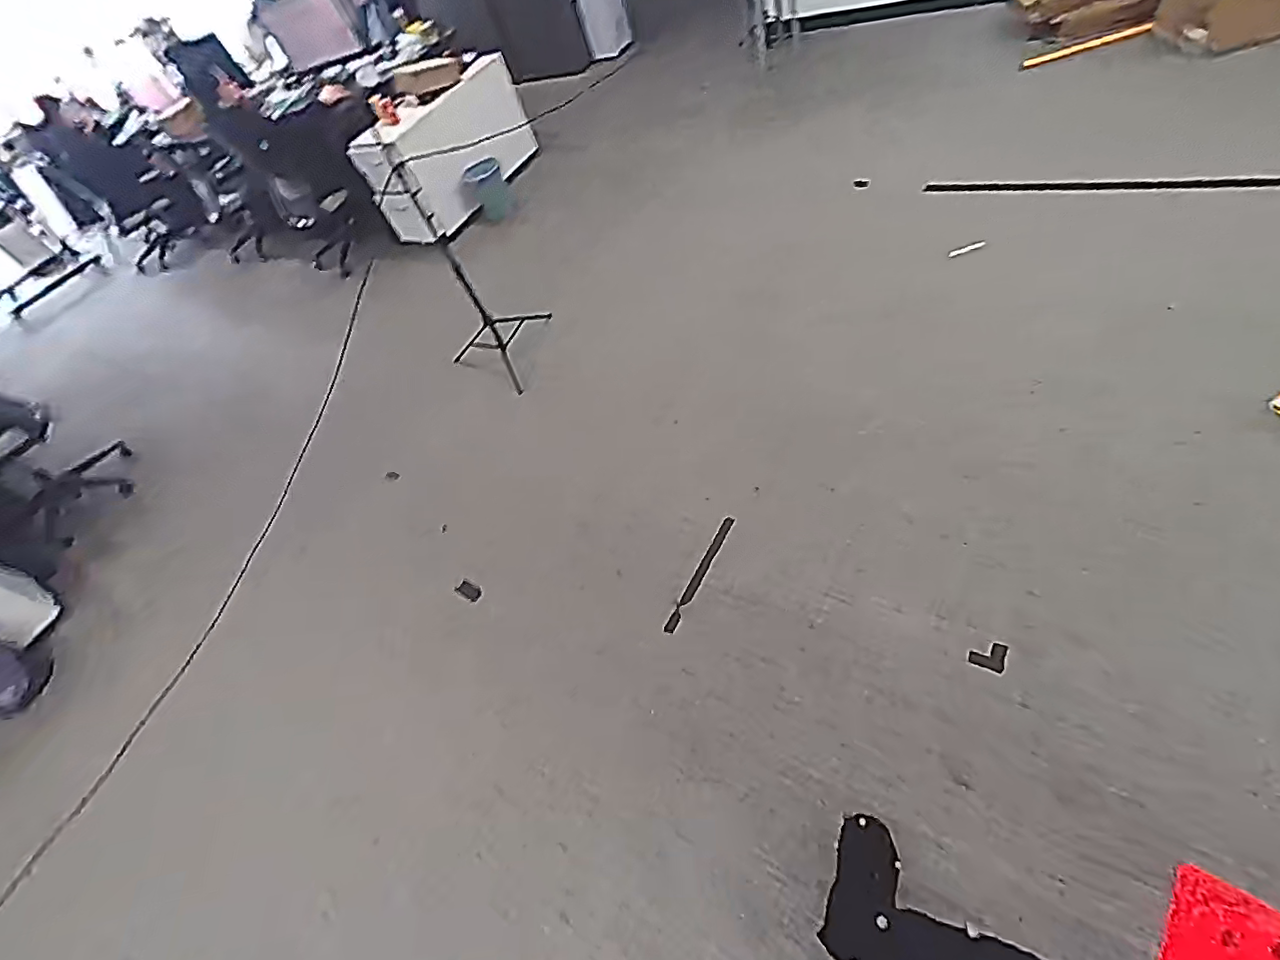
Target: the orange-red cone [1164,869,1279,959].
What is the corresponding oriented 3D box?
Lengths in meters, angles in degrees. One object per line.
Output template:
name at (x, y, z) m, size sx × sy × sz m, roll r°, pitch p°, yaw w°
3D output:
orange-red cone at (0.950, 0.687, 0.749) m, size 0.198 × 0.360 × 0.199 m, roll 25°, pitch 65°, yaw 32°
